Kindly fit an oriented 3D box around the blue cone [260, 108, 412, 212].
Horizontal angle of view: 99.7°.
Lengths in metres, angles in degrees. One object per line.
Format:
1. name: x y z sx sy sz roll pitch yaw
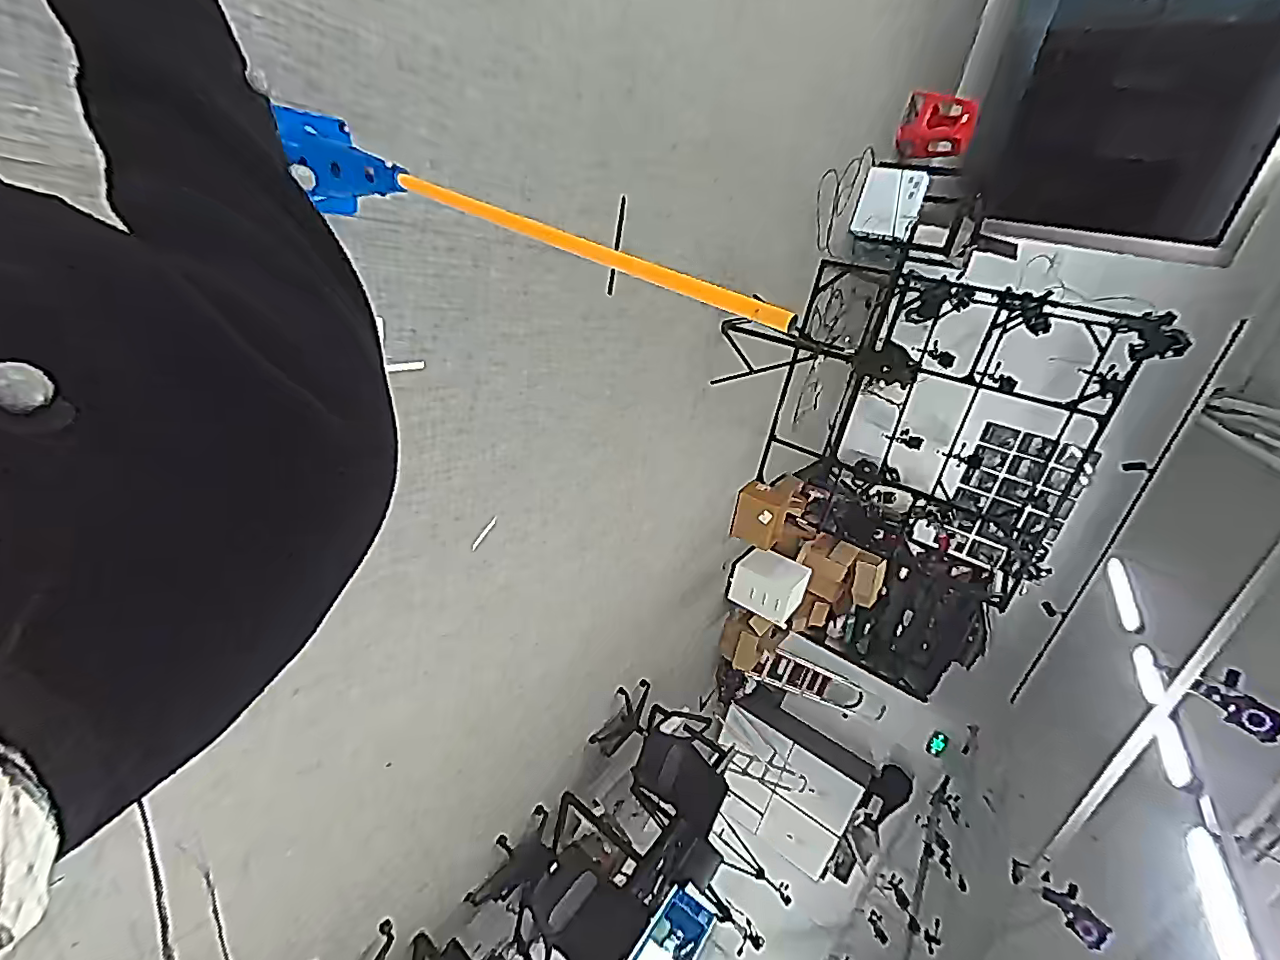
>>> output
1. blue cone: -0.604 -0.654 1.136 0.193 0.380 0.192 -26 132 -50
